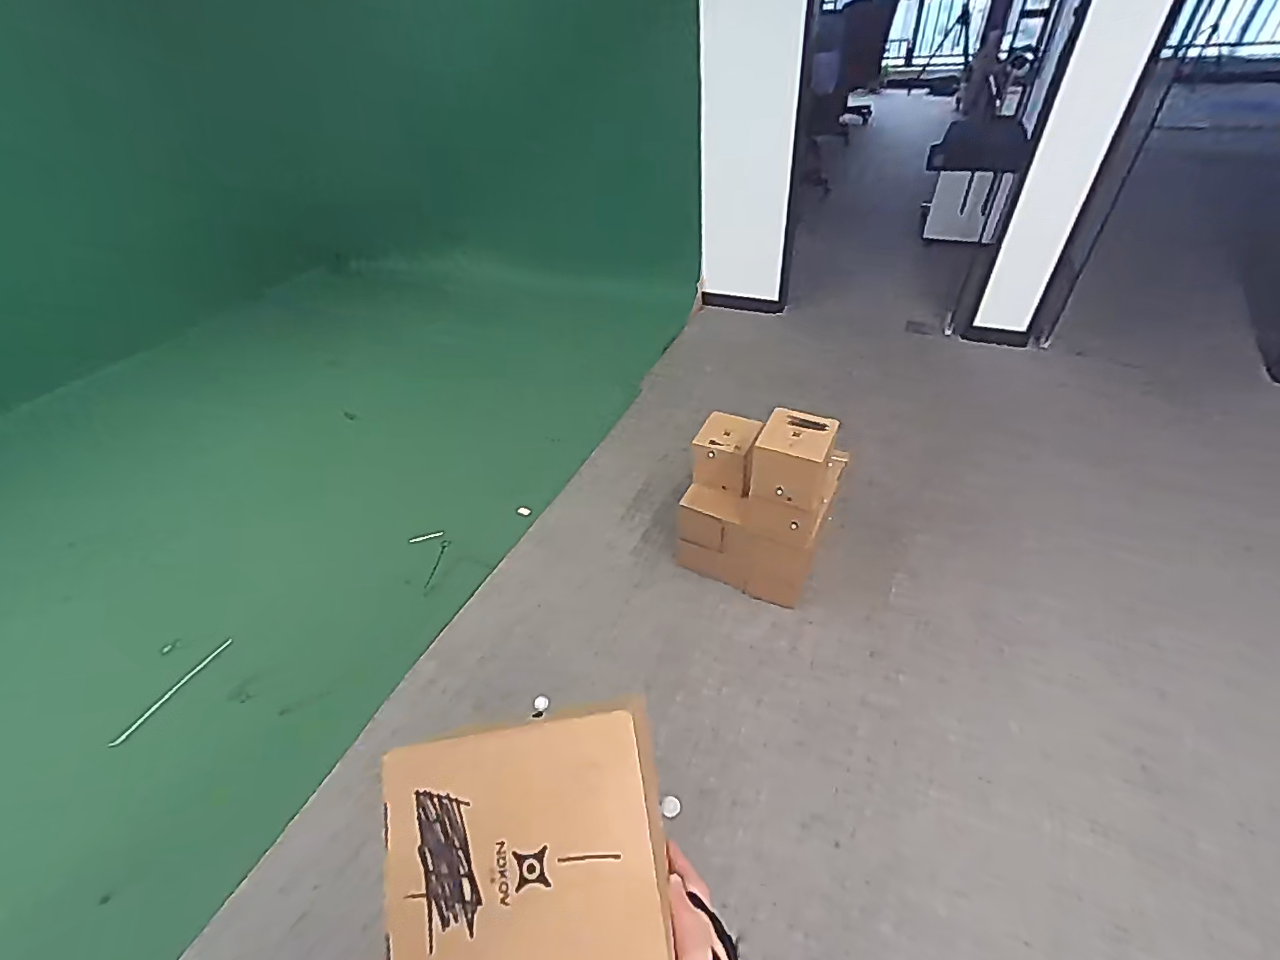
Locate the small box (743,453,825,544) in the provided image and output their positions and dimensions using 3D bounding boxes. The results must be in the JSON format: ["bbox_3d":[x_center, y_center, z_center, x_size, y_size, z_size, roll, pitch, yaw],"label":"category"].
[{"bbox_3d":[0.397,0.055,1.508,0.179,0.176,0.168,16,46,22],"label":"small box"}]

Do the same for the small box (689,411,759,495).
[{"bbox_3d":[0.257,-0.085,1.675,0.168,0.176,0.179,16,46,23],"label":"small box"}]

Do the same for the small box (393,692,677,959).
[{"bbox_3d":[-0.069,0.268,0.423,0.179,0.176,0.168,-9,72,-1],"label":"small box"}]
